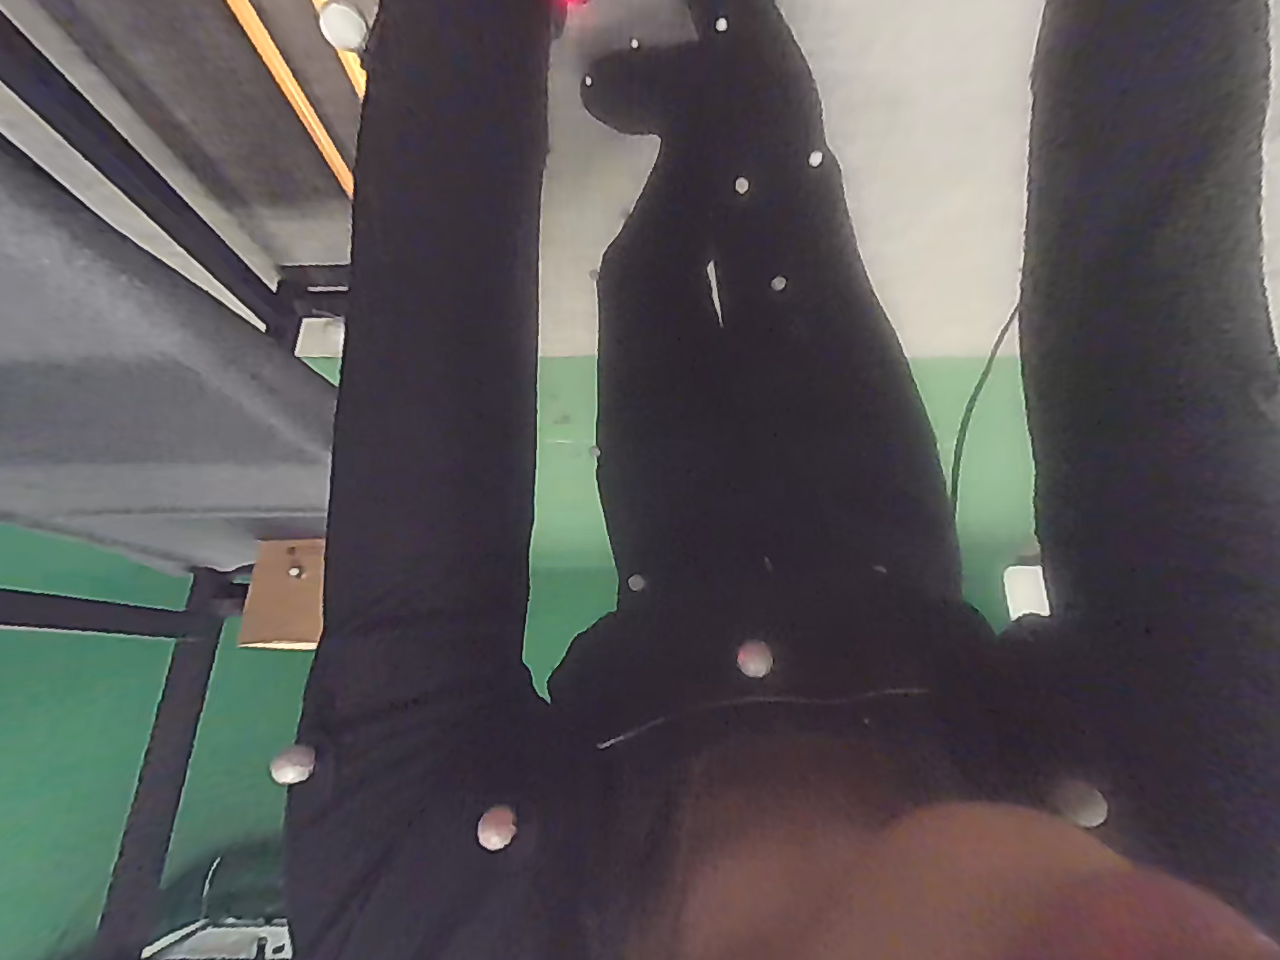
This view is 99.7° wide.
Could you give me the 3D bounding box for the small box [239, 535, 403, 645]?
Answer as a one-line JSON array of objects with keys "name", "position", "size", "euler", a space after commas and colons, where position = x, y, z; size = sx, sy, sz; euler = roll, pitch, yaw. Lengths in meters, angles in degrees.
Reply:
[{"name": "small box", "position": [-0.539, 0.196, 0.943], "size": [0.168, 0.176, 0.179], "euler": [-3, 160, 7]}]
